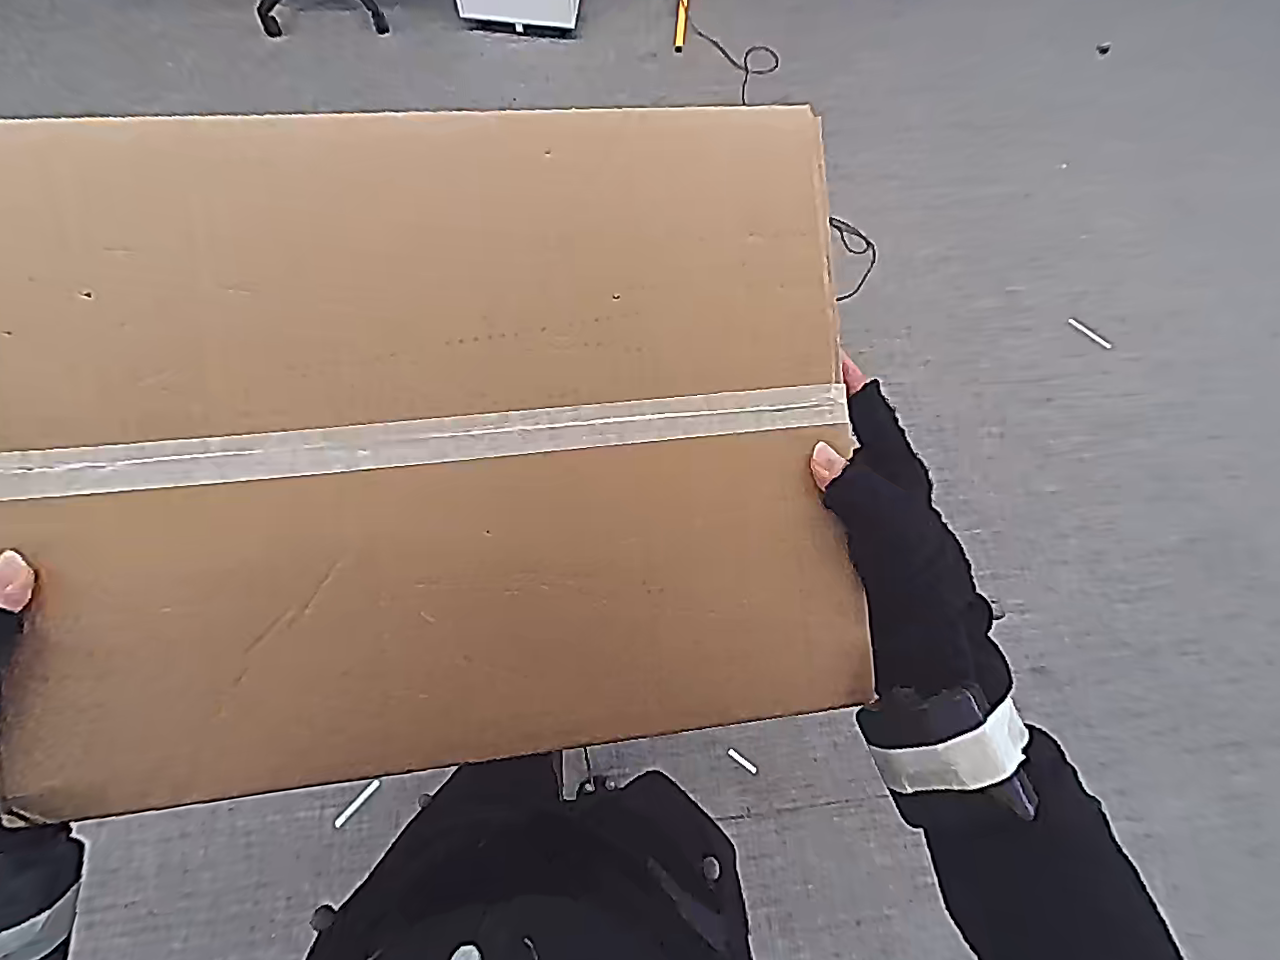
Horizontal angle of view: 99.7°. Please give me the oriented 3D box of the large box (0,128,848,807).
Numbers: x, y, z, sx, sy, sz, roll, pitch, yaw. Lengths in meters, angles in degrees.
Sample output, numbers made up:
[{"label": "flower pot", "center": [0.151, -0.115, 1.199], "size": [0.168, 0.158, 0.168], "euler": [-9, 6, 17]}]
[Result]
[{"label": "large box", "center": [-0.110, -0.019, 0.419], "size": [0.408, 0.320, 0.320], "euler": [-5, 89, -7]}]
